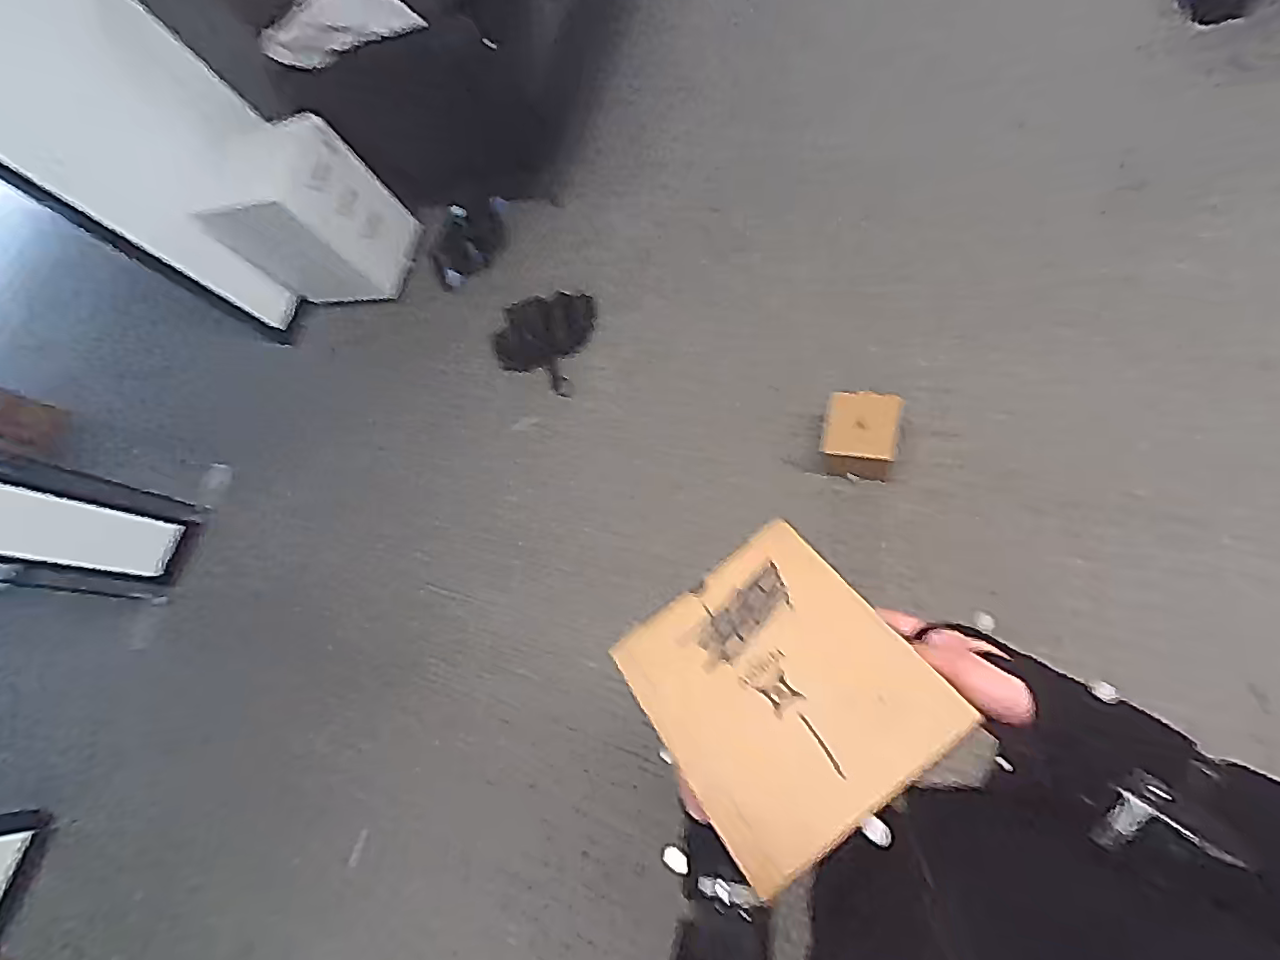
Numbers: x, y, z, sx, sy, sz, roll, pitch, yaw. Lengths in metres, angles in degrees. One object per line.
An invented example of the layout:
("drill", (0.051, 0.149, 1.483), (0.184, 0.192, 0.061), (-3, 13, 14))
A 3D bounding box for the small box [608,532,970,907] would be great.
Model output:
("small box", (0.105, 0.178, 0.419), (0.168, 0.176, 0.179), (-36, 56, -3))

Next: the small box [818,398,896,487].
("small box", (0.572, -0.097, 1.429), (0.168, 0.176, 0.179), (8, 75, 25))
